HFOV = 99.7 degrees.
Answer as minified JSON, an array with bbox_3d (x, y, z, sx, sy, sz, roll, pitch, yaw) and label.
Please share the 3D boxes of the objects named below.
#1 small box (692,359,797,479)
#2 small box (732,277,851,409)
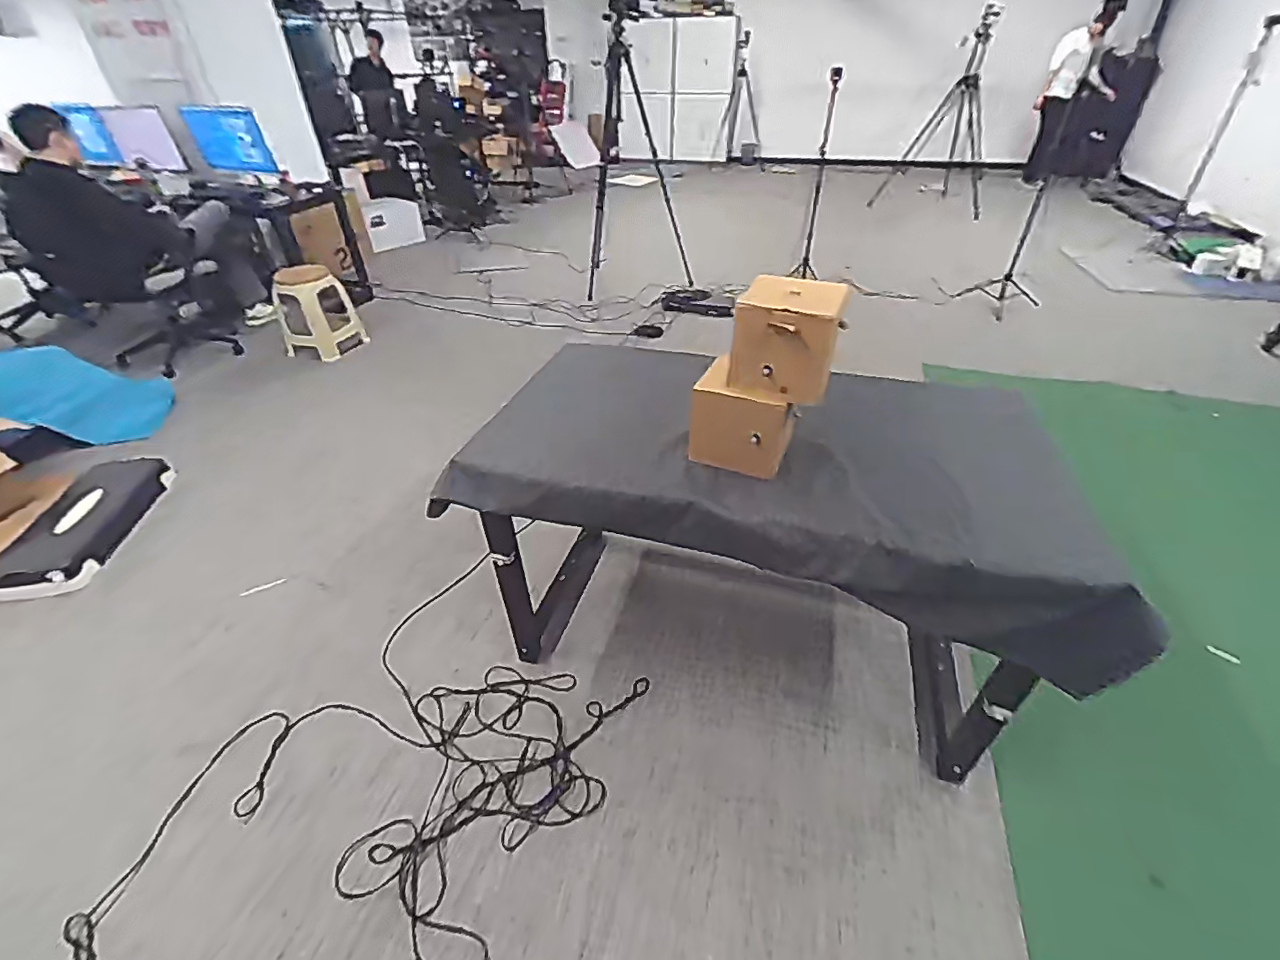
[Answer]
[{"bbox_3d":[0.213,-0.121,1.081,0.179,0.176,0.168,14,39,20],"label":"small box"},{"bbox_3d":[0.272,-0.253,0.987,0.168,0.176,0.179,15,40,18],"label":"small box"}]
